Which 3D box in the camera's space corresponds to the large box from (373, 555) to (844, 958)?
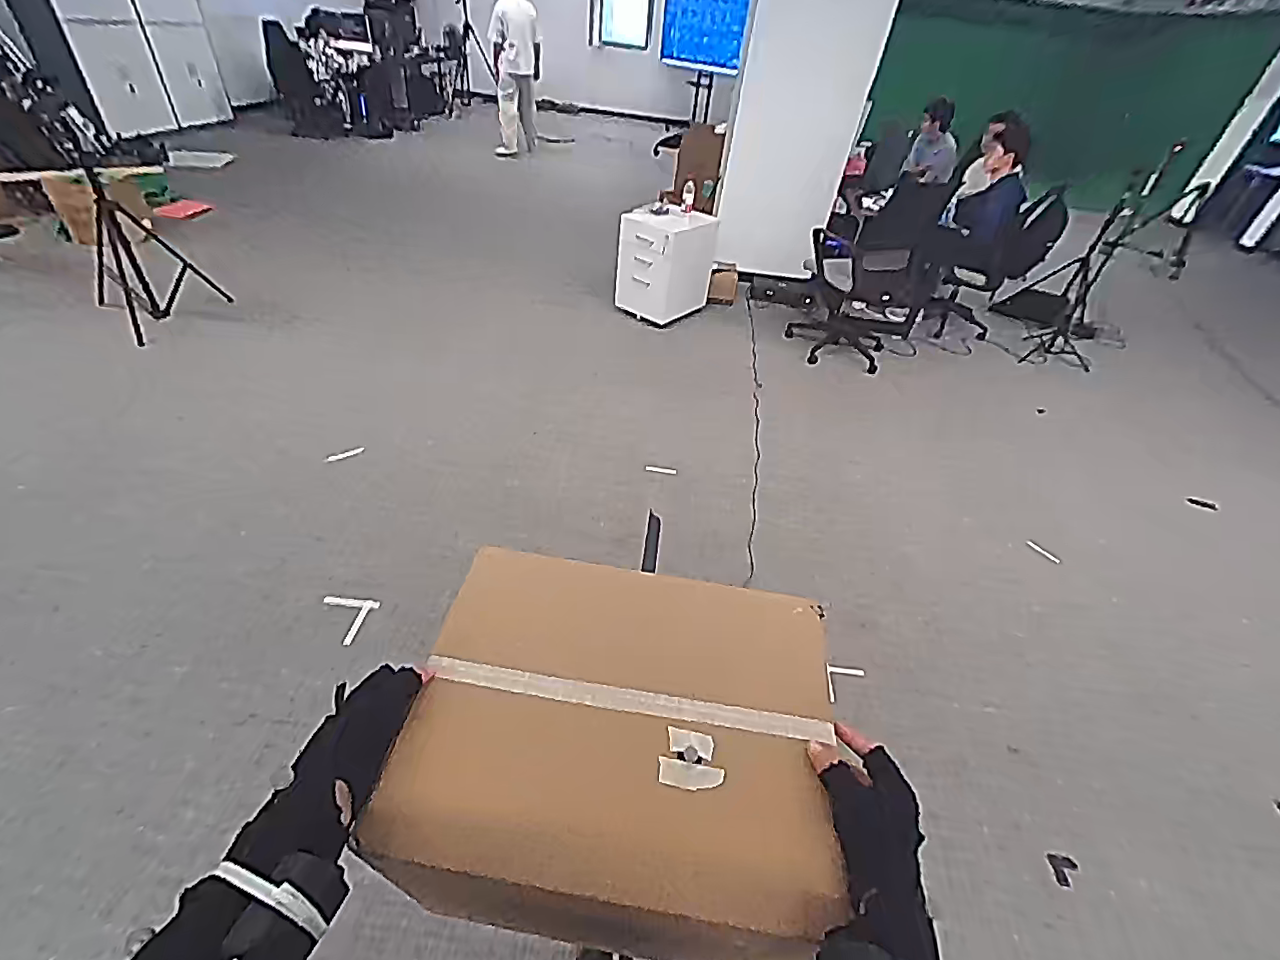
[{"bbox_3d":[-0.023,0.328,0.652,0.408,0.320,0.320,9,45,3],"label":"large box"}]
